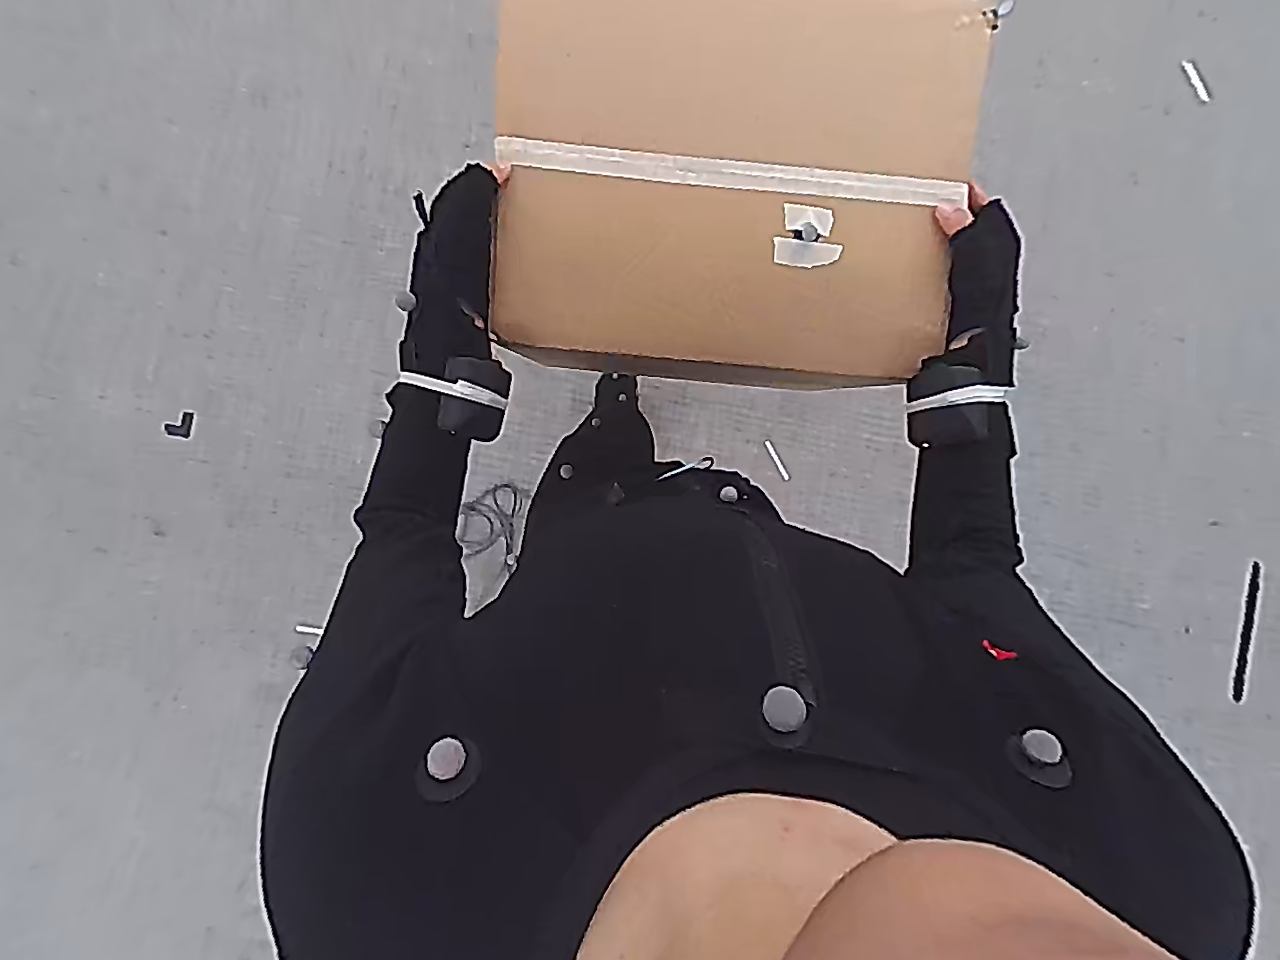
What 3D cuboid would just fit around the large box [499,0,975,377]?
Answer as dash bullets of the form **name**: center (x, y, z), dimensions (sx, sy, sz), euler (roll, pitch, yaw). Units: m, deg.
- **large box**: center (0.072, -0.294, 0.621), dimensions (0.408, 0.320, 0.320), euler (5, 99, -3)
